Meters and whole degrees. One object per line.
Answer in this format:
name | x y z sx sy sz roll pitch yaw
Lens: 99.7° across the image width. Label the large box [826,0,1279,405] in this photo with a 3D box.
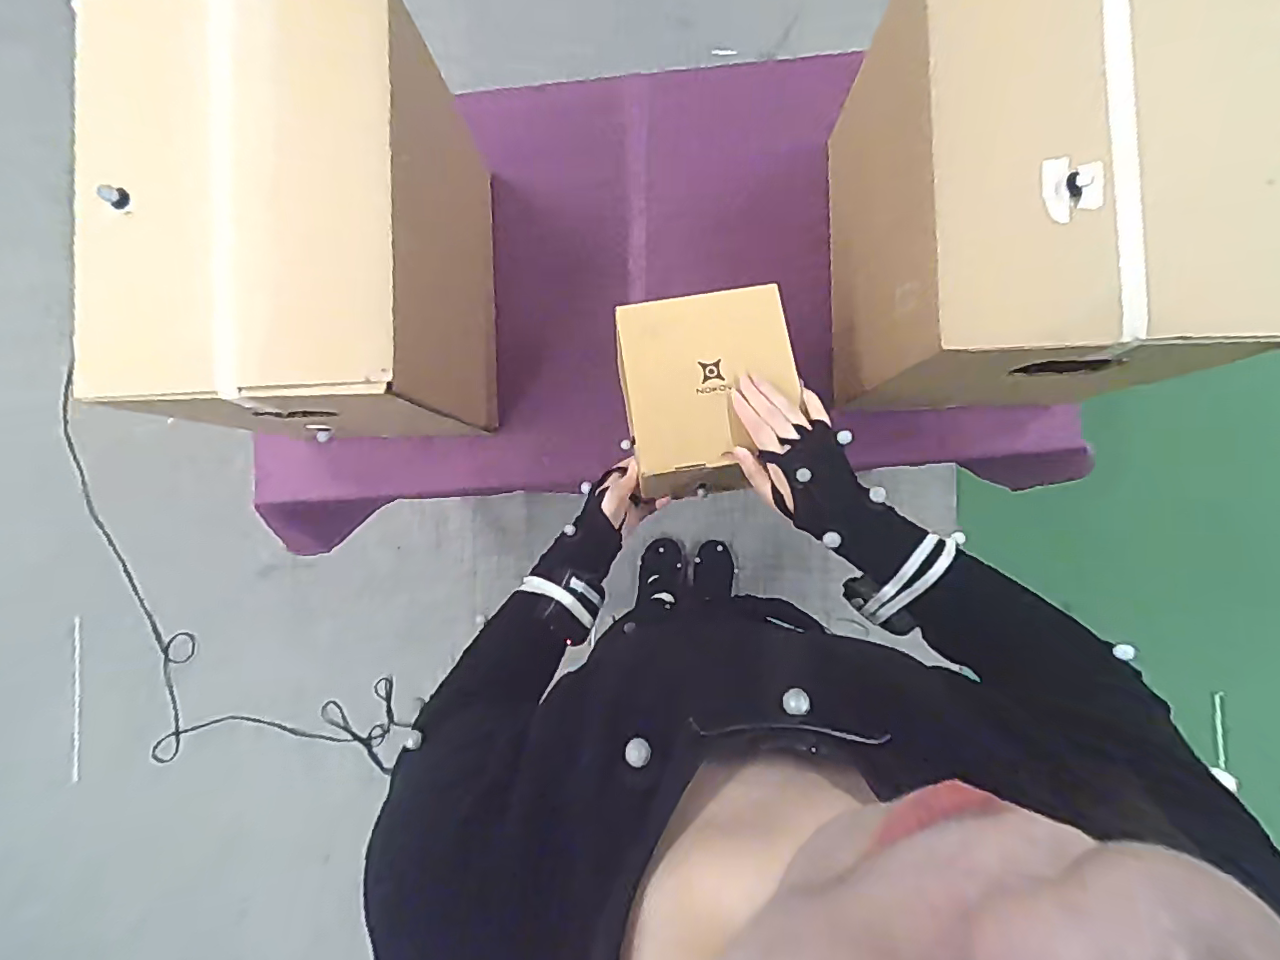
large box | 0.424 -0.313 0.634 0.320 0.320 0.408 -1 88 3
